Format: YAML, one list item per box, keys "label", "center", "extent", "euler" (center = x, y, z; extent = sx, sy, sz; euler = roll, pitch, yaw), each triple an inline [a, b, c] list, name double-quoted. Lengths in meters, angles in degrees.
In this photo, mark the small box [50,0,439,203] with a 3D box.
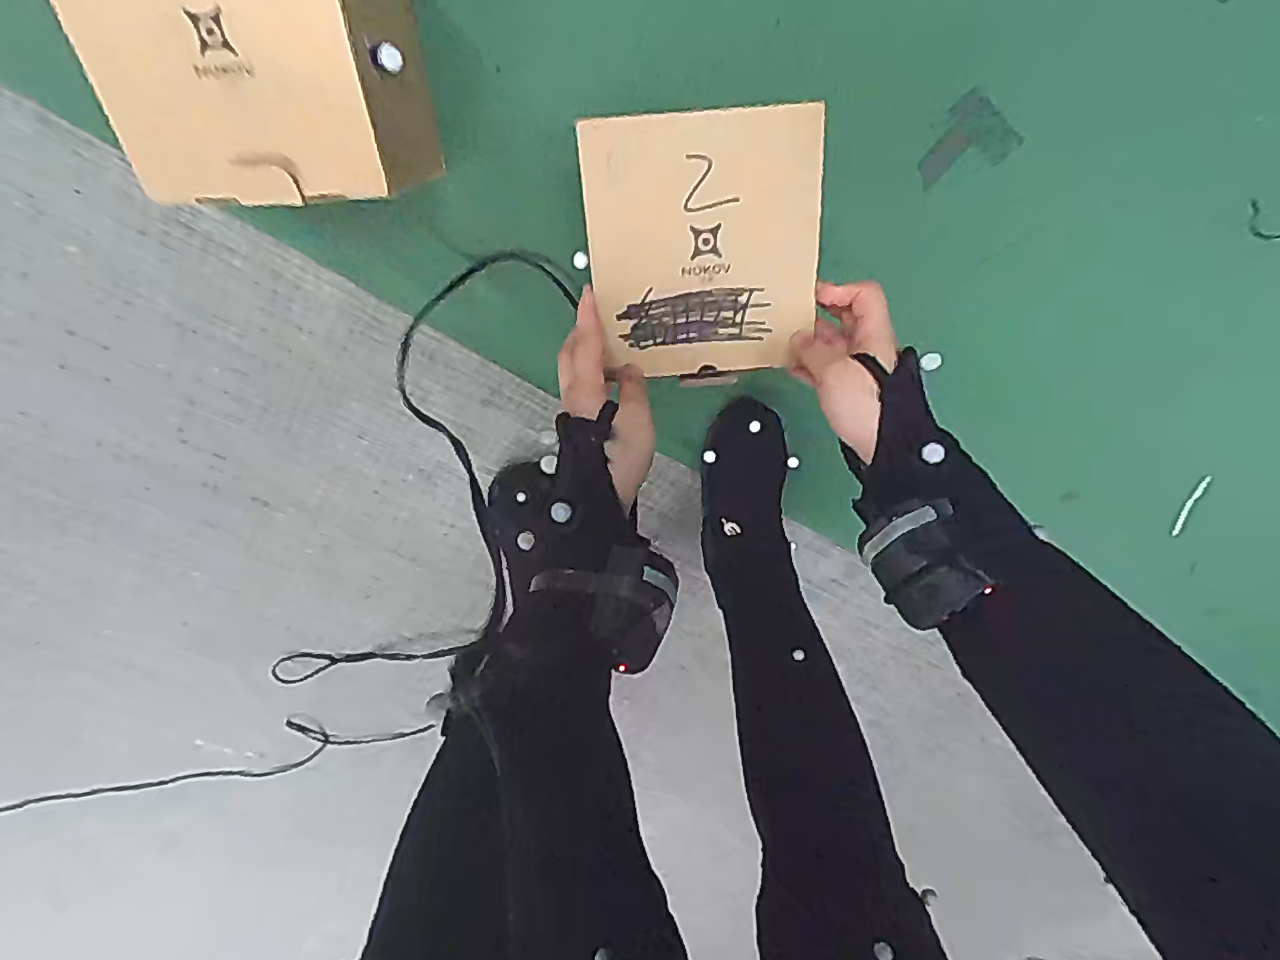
- label: "small box"
  center: [-0.262, -0.312, 0.388]
  extent: [0.168, 0.176, 0.179]
  euler: [-4, 127, -2]
